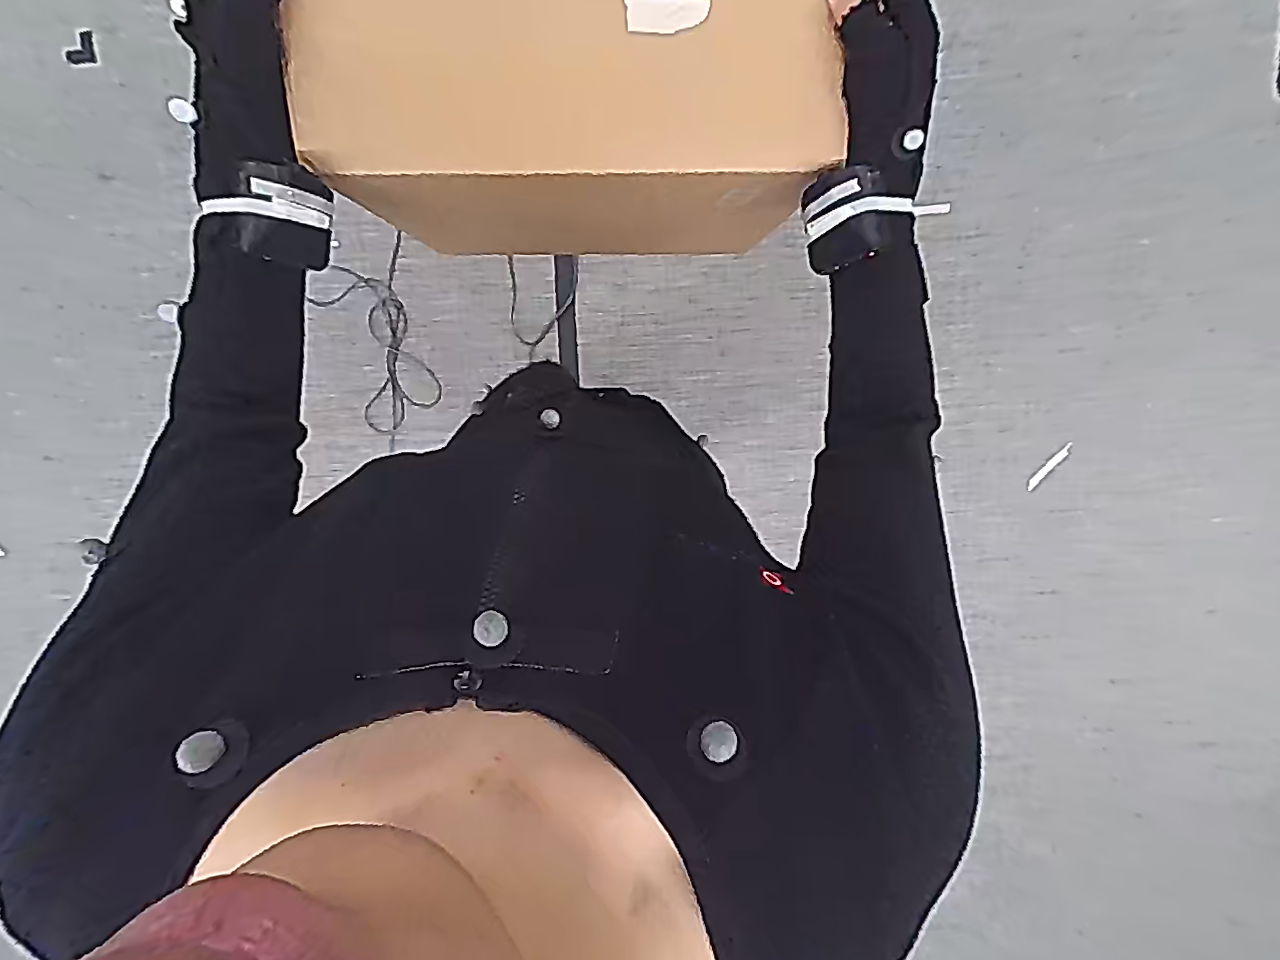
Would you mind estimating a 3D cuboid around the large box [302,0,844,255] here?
[{"bbox_3d":[-0.055,-0.418,0.533,0.408,0.320,0.320,-2,103,-3],"label":"large box"}]
